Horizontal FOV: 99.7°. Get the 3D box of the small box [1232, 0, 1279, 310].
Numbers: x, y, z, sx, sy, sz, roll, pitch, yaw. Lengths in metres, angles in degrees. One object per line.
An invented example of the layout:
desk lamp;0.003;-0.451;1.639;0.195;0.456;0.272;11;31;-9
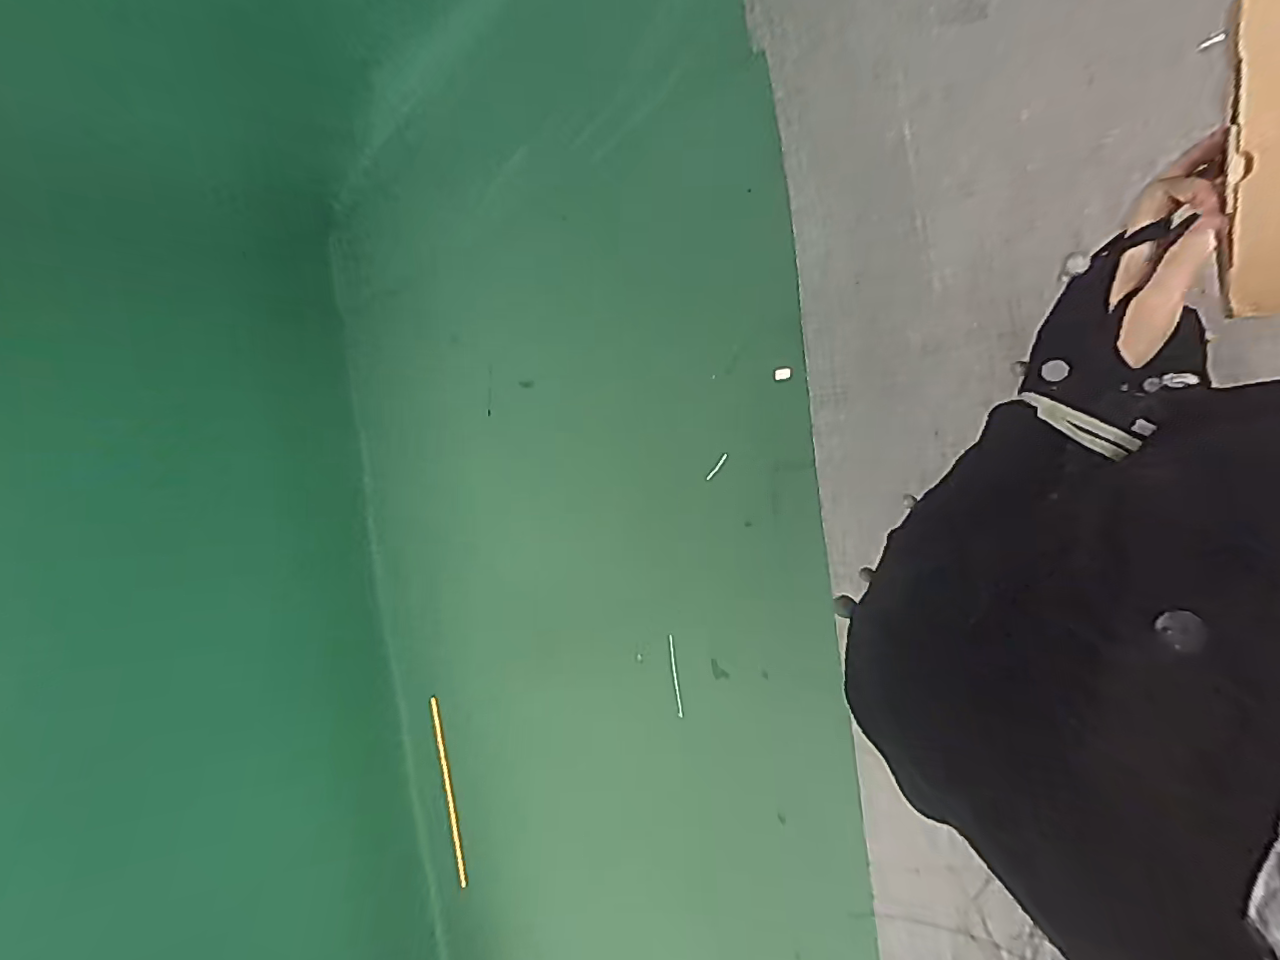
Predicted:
small box;0.436;-0.207;0.274;0.179;0.176;0.168;1;120;47
